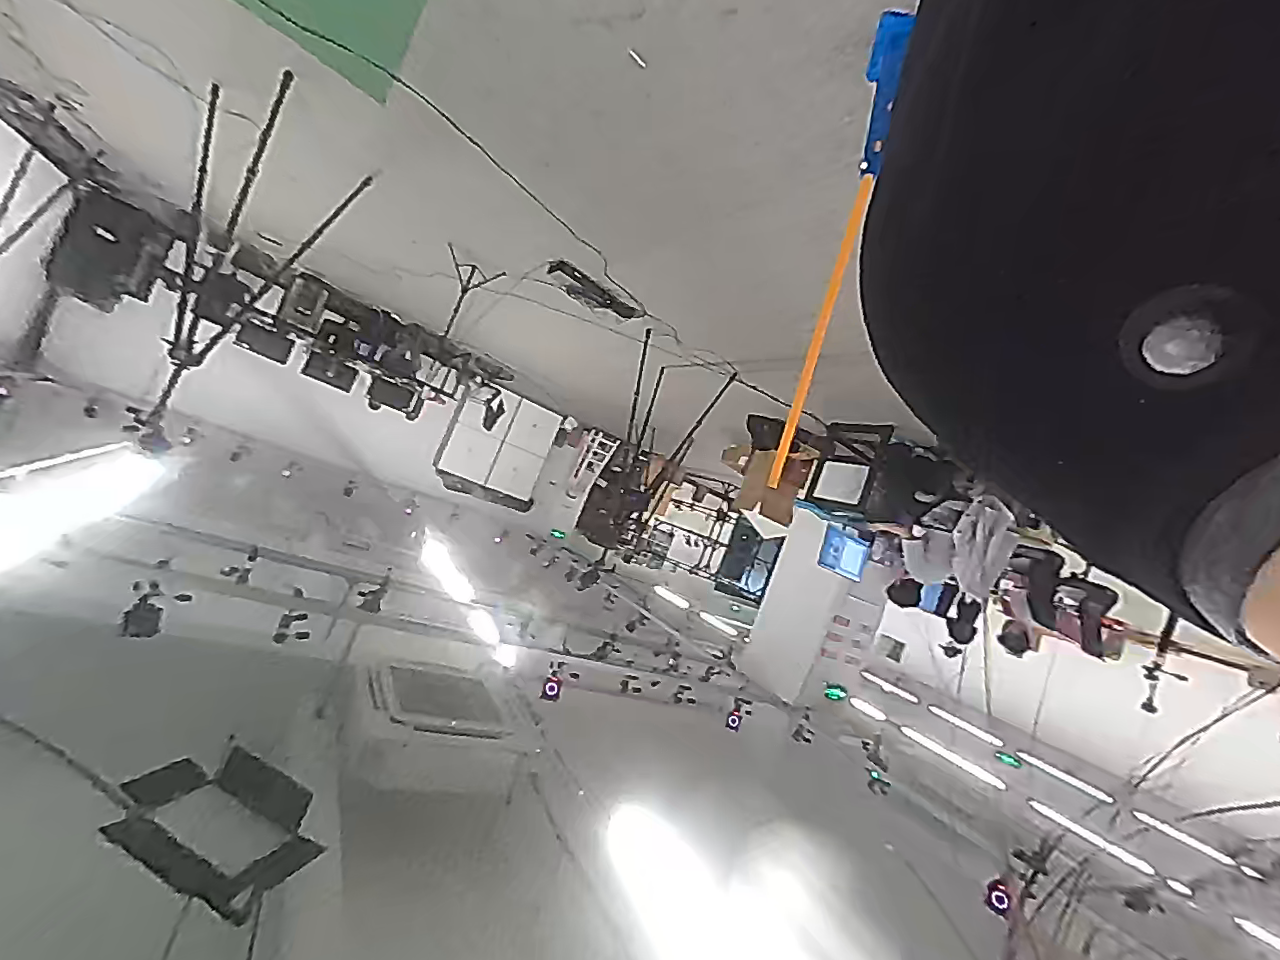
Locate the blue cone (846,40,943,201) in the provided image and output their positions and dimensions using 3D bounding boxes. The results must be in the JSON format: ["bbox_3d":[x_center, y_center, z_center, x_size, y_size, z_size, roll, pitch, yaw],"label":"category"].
[{"bbox_3d":[0.630,-0.914,1.420,0.192,0.380,0.193,19,177,13],"label":"blue cone"}]
